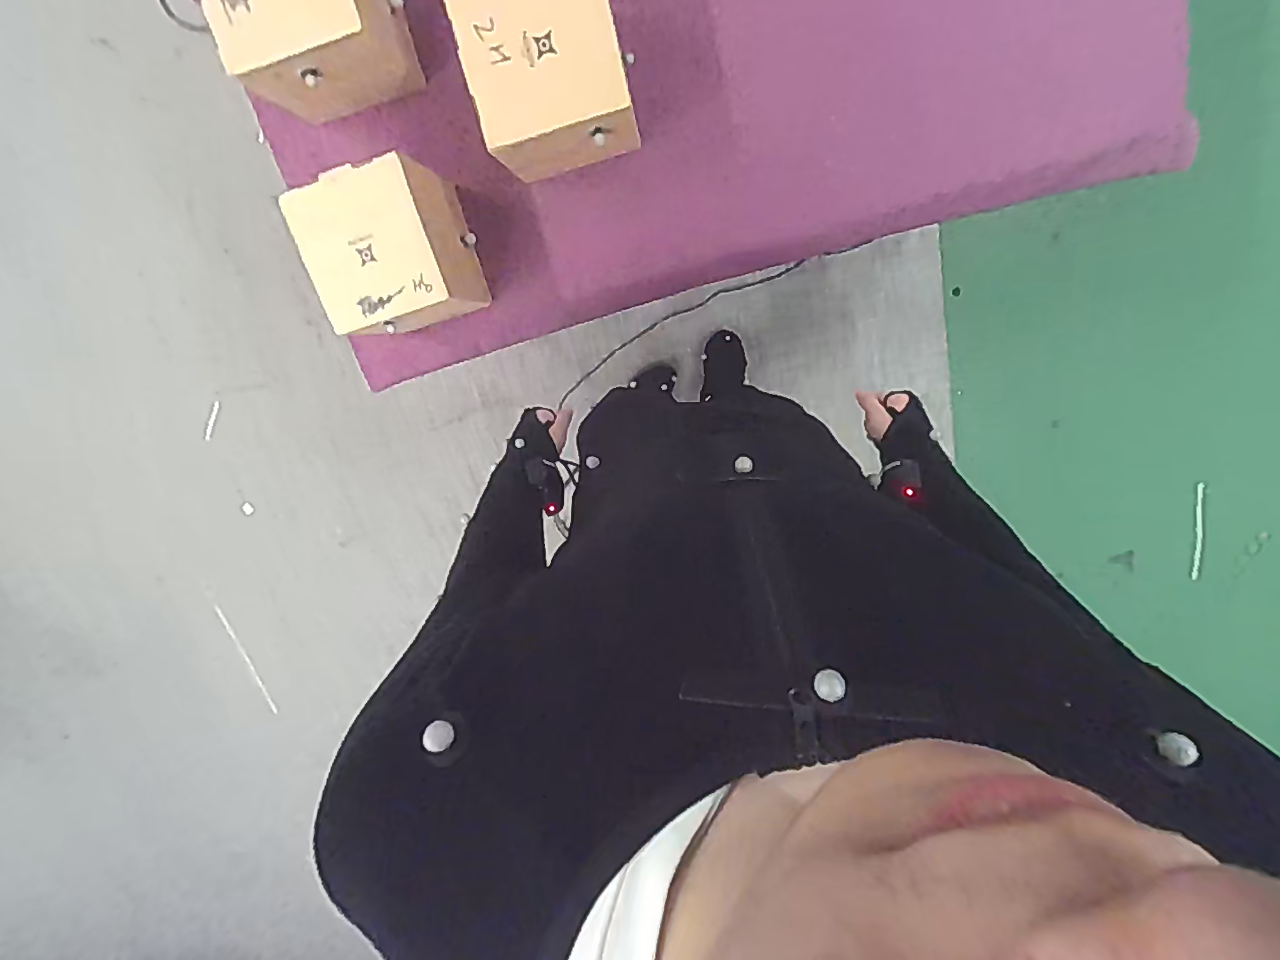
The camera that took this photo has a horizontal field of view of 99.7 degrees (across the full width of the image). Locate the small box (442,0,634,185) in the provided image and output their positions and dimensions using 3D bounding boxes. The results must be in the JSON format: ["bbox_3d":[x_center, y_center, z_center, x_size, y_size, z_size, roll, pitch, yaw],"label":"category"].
[{"bbox_3d":[-0.108,-0.489,0.666,0.179,0.176,0.168,-12,106,7],"label":"small box"}]

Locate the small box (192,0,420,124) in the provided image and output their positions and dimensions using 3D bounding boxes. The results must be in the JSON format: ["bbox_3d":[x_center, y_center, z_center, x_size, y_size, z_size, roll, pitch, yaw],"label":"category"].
[{"bbox_3d":[-0.407,-0.570,0.662,0.179,0.176,0.168,-13,107,7],"label":"small box"}]

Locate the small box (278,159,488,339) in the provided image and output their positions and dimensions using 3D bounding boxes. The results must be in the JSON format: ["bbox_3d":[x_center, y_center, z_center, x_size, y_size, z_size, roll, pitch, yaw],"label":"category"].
[{"bbox_3d":[-0.334,-0.299,0.740,0.168,0.176,0.179,-14,104,9],"label":"small box"}]
